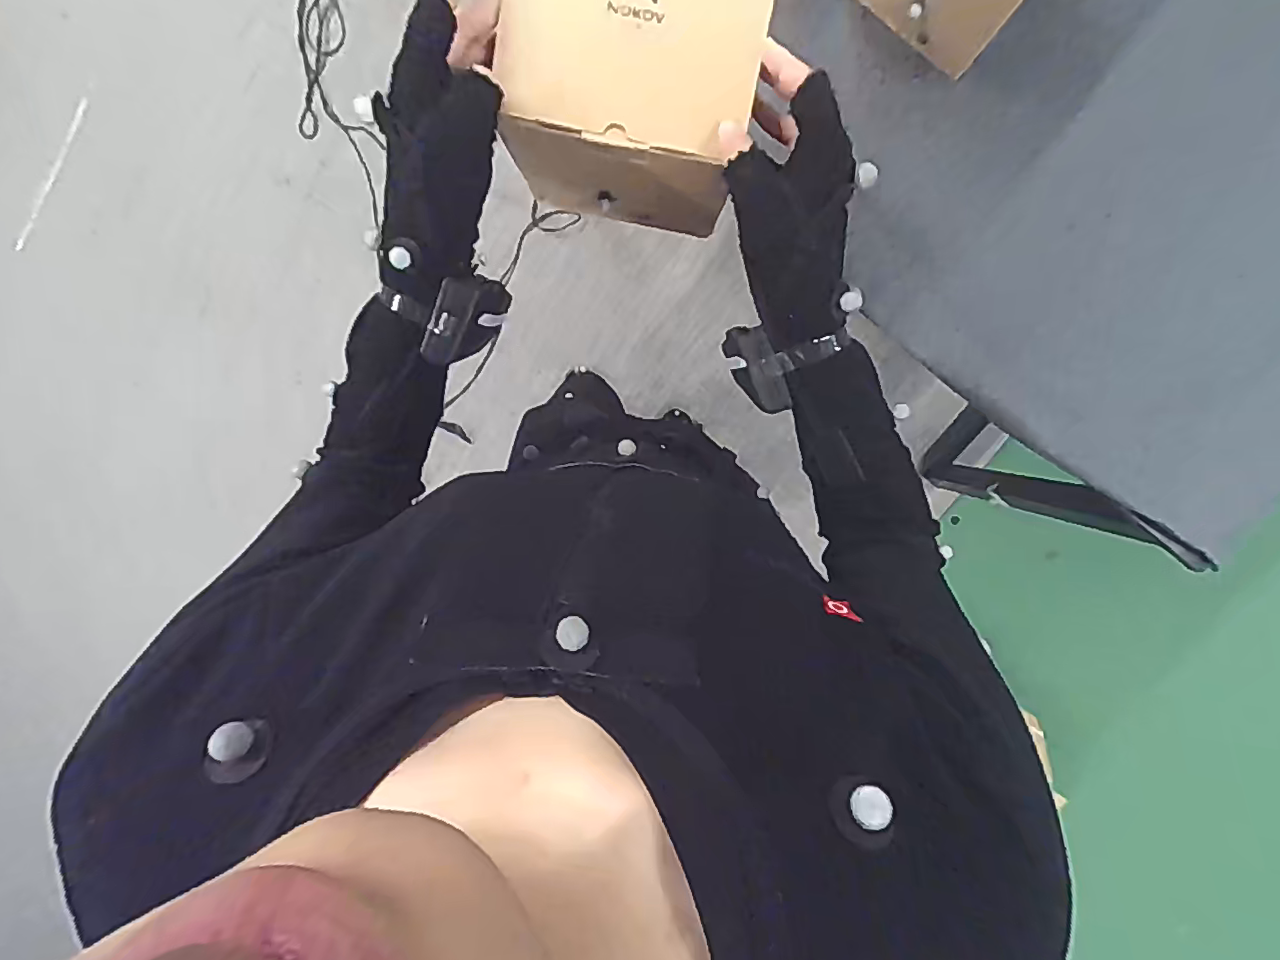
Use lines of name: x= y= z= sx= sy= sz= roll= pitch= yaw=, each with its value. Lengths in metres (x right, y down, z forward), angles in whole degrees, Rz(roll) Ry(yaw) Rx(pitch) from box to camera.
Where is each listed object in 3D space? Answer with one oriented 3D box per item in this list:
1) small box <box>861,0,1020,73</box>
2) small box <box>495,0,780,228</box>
small box: x=0.361 y=-0.590 z=0.557 sx=0.168 sy=0.176 sz=0.179 roll=40 pitch=98 yaw=-1
small box: x=0.004 y=-0.317 z=0.407 sx=0.168 sy=0.176 sz=0.179 roll=11 pitch=101 yaw=-2
